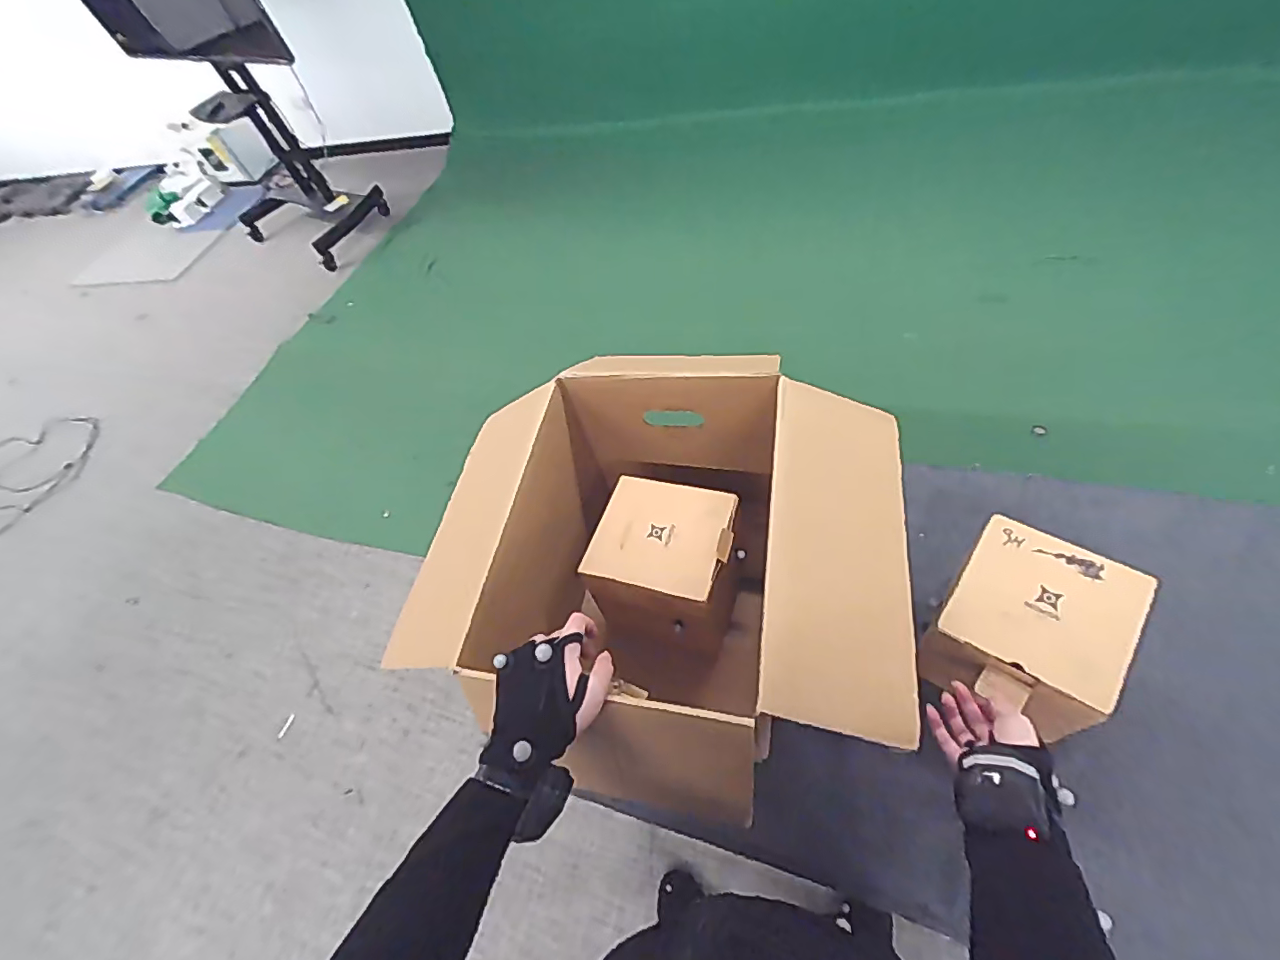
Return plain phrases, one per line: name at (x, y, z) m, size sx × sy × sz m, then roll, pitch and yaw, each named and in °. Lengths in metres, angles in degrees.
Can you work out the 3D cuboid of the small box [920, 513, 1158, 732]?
small box at (0.469, 0.180, 0.667) m, size 0.168 × 0.176 × 0.179 m, roll 31°, pitch 71°, yaw 31°
